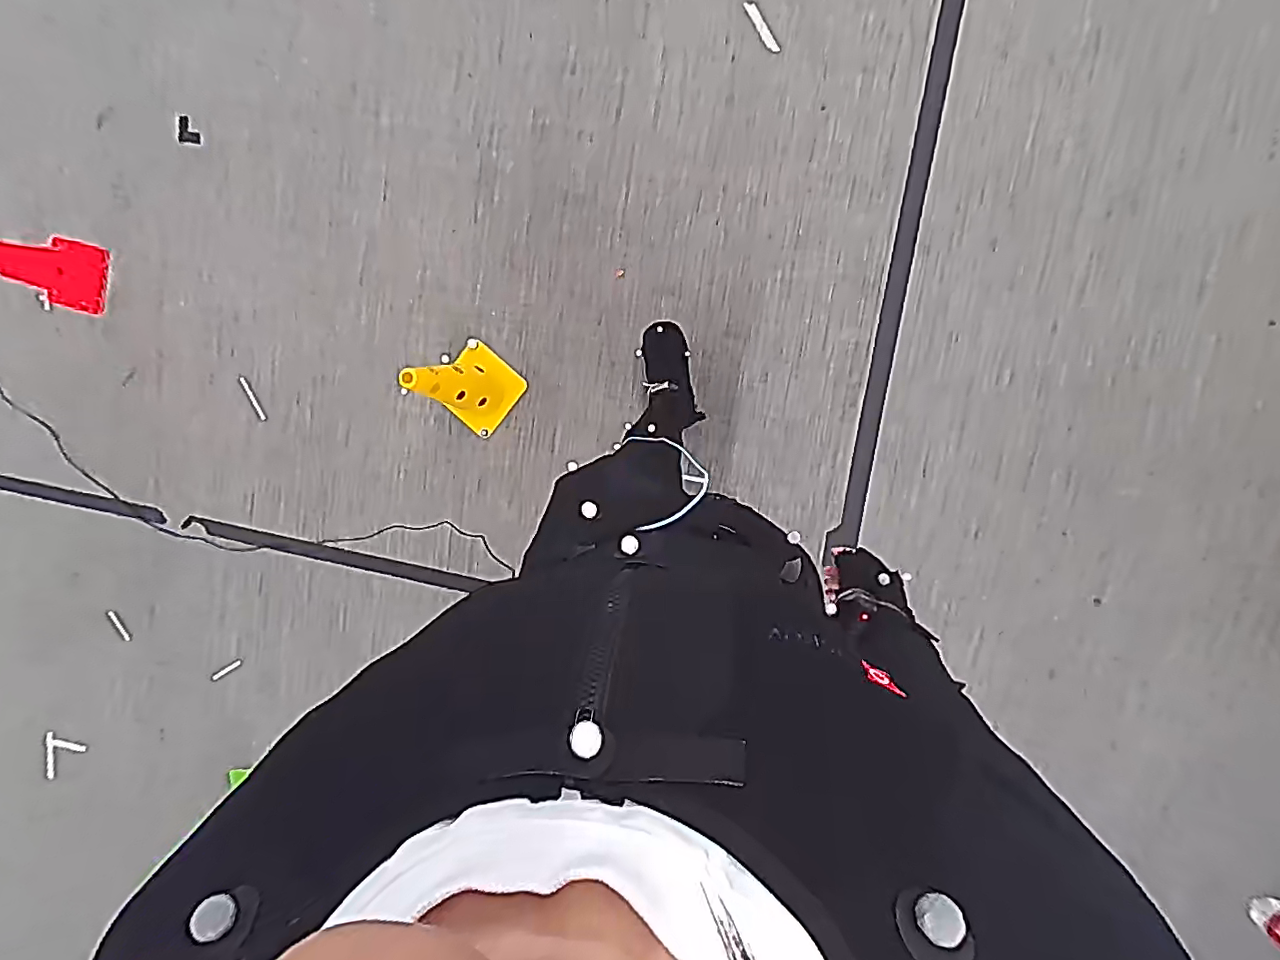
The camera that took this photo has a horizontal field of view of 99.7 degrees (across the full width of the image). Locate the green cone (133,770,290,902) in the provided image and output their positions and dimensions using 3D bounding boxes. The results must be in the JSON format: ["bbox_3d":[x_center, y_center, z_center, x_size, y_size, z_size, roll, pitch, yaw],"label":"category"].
[{"bbox_3d":[-1.239,1.031,1.547,0.202,0.368,0.200,-6,95,10],"label":"green cone"}]

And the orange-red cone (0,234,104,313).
[{"bbox_3d":[-1.699,-0.589,1.431,0.199,0.360,0.198,17,99,5],"label":"orange-red cone"}]
